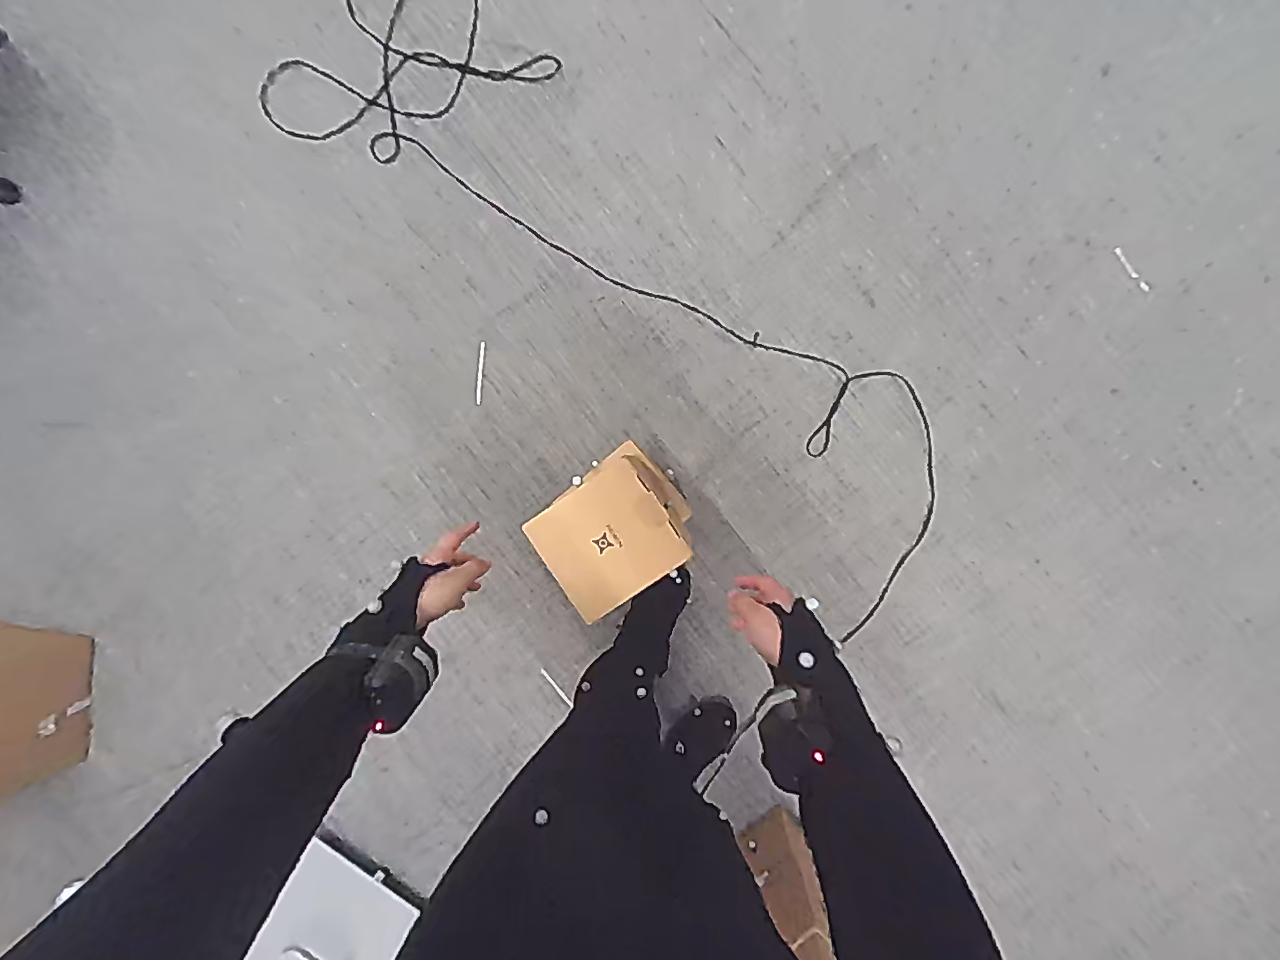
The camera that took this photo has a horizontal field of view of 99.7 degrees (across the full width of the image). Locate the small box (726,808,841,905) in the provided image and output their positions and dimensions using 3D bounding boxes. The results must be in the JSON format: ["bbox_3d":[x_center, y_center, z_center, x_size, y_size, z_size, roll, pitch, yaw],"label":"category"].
[{"bbox_3d":[0.301,0.849,1.161,0.168,0.176,0.179,-40,89,6],"label":"small box"}]

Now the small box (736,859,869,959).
[{"bbox_3d":[0.296,0.851,0.998,0.168,0.176,0.179,-43,91,7],"label":"small box"}]

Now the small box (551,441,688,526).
[{"bbox_3d":[-0.029,0.048,0.972,0.179,0.176,0.168,-40,90,4],"label":"small box"}]

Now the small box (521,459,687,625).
[{"bbox_3d":[-0.043,0.083,0.812,0.179,0.176,0.168,-35,90,4],"label":"small box"}]
